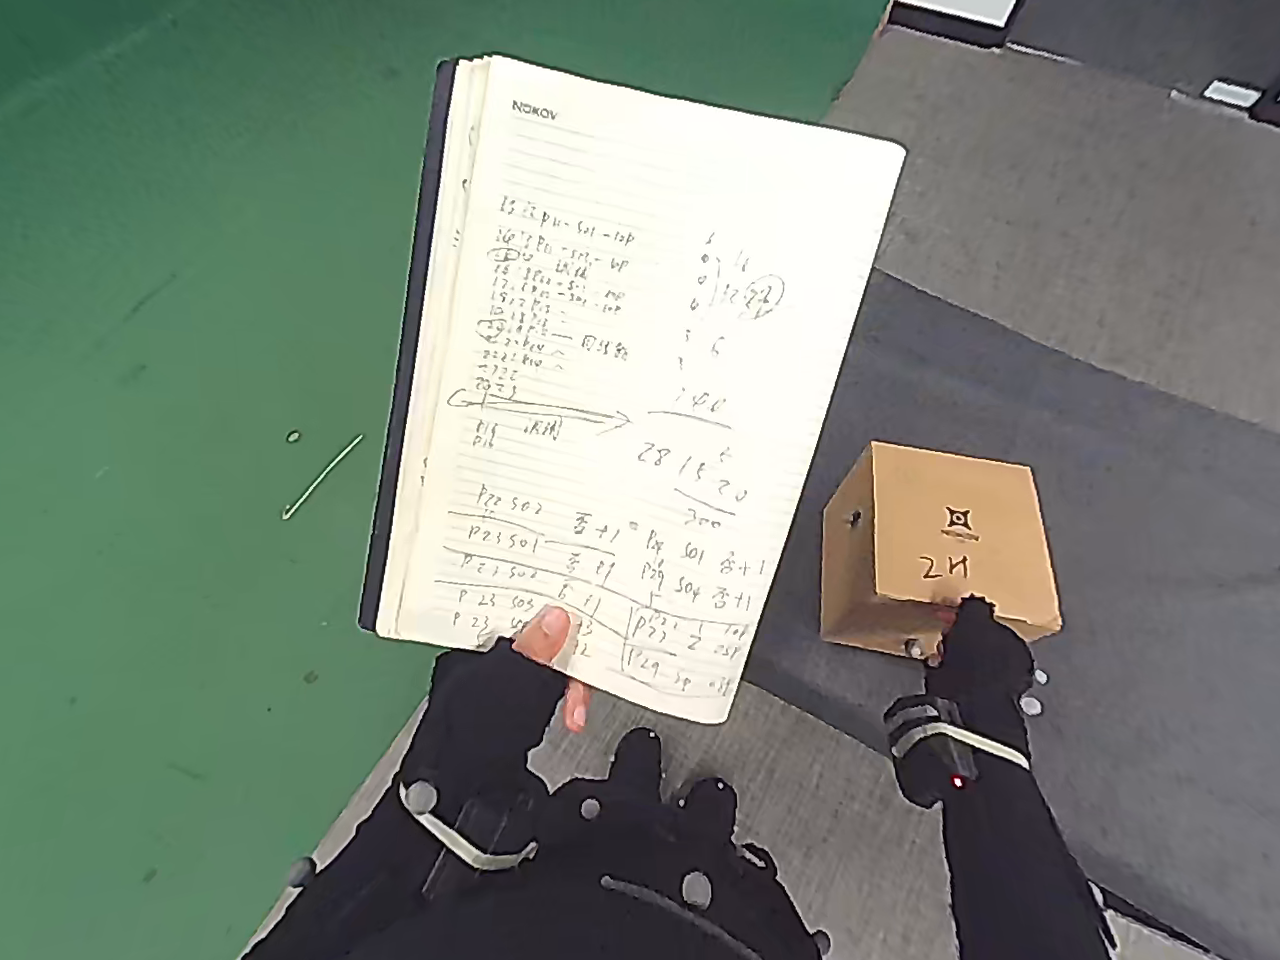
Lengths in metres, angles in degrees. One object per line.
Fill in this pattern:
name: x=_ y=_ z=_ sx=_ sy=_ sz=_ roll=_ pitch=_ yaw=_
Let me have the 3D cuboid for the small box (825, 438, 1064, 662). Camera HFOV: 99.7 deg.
small box: x=0.312 y=0.082 z=0.598 sx=0.168 sy=0.176 sz=0.179 roll=10 pitch=60 yaw=5
